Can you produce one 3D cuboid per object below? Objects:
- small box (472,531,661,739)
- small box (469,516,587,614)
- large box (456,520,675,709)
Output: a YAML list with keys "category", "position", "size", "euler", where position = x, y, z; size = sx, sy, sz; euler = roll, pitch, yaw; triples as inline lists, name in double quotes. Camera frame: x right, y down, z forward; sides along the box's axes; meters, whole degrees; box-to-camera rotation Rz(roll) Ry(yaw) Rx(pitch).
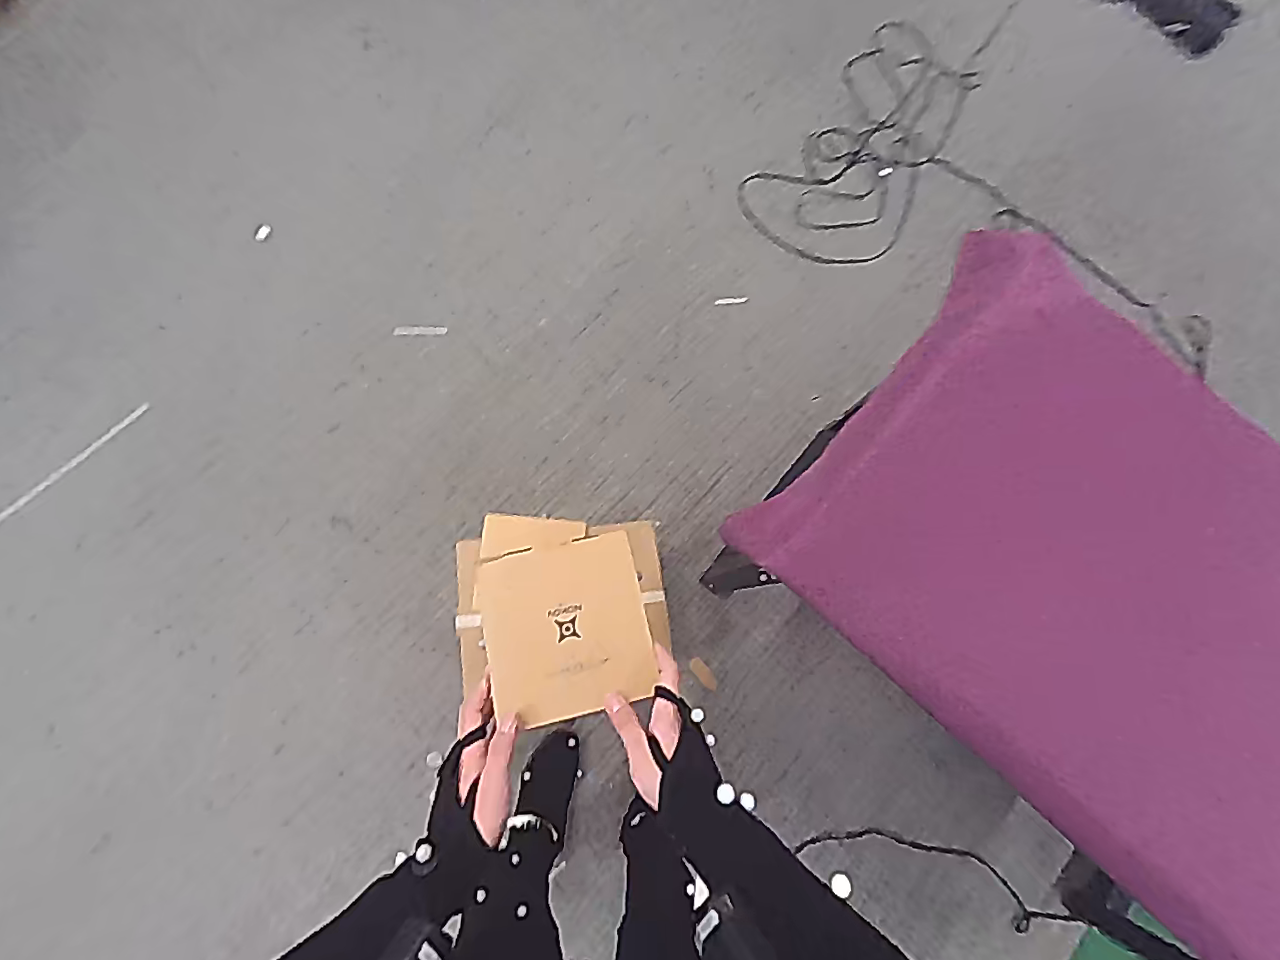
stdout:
- category: "small box"
  position: [-0.085, 0.173, 0.609]
  size: [0.168, 0.176, 0.179]
  euler: [-10, 72, -10]
- category: "small box"
  position: [-0.190, 0.169, 0.973]
  size: [0.179, 0.176, 0.168]
  euler: [5, 73, -3]
- category: "large box"
  position: [-0.161, 0.290, 1.197]
  size: [0.408, 0.320, 0.320]
  euler: [-6, 77, -7]
